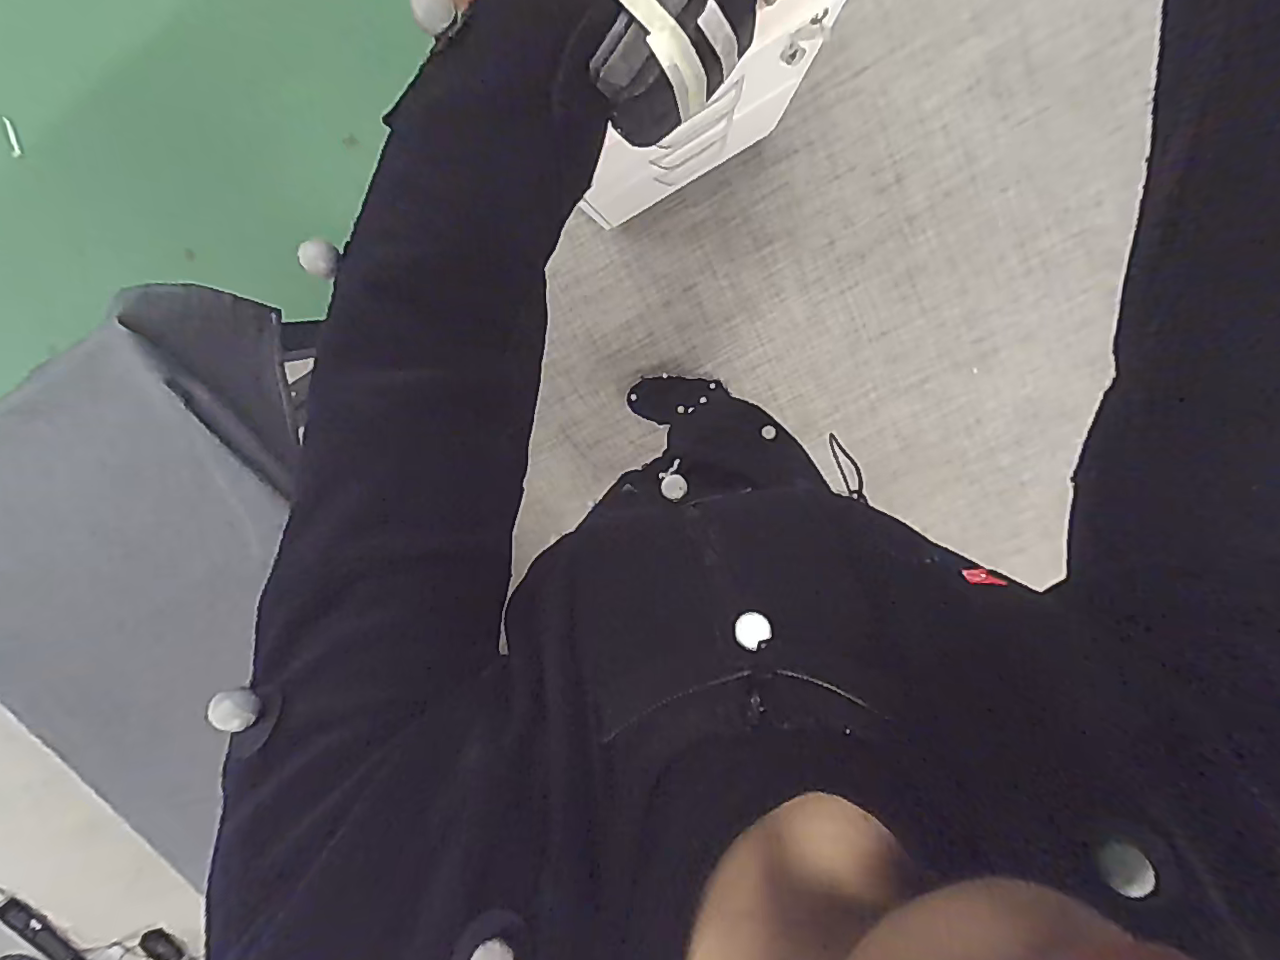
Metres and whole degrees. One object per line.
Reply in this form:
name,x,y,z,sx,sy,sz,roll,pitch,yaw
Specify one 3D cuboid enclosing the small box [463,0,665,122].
small box,-0.082,-0.484,0.523,0.168,0.176,0.179,-26,104,11
